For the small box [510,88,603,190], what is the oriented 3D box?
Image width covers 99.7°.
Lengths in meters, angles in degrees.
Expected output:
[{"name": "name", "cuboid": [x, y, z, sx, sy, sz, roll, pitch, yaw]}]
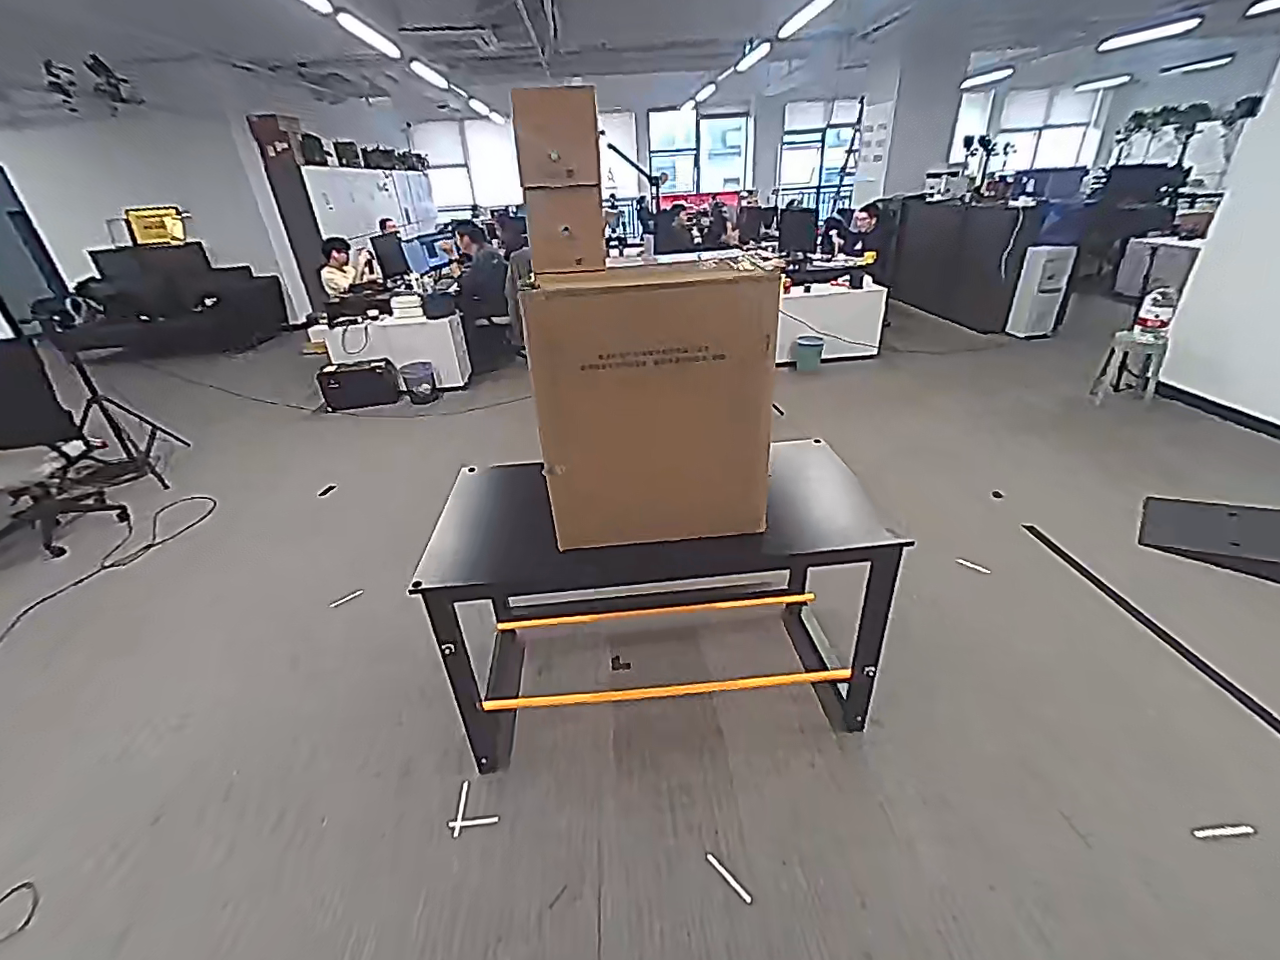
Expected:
[{"name": "small box", "cuboid": [-0.166, -0.702, 1.129, 0.168, 0.176, 0.179, -4, 29, -2]}]

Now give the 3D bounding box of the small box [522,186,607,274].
[{"name": "small box", "cuboid": [-0.163, -0.565, 1.223, 0.168, 0.176, 0.179, -4, 29, -3]}]
